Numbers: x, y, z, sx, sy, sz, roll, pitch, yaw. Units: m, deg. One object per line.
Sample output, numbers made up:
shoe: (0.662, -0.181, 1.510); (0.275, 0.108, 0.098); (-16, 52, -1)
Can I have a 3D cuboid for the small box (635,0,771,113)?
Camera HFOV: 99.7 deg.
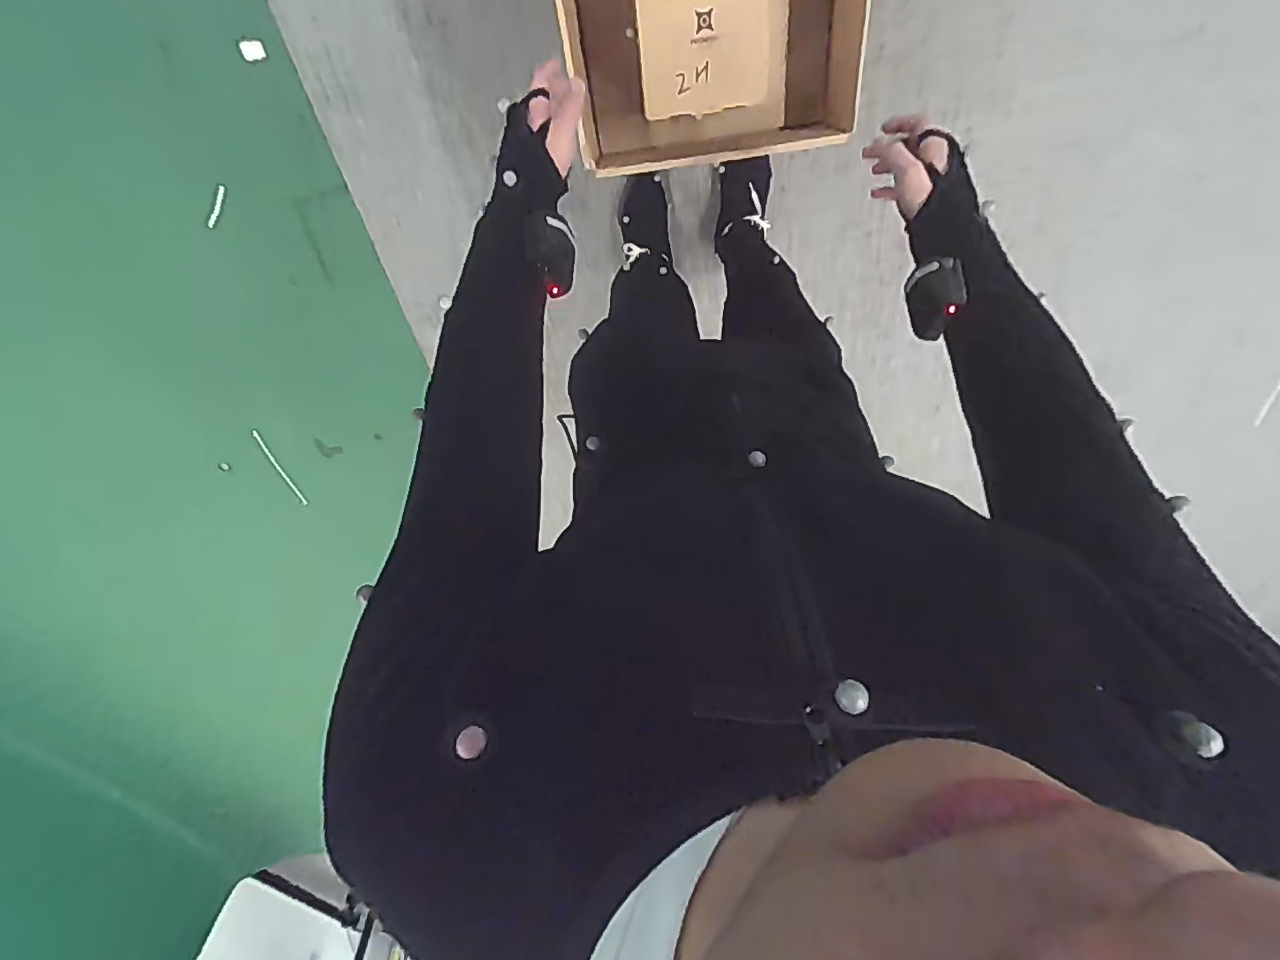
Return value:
small box: (0.080, -0.616, 0.733); (0.168, 0.176, 0.179); (-5, 127, 5)
